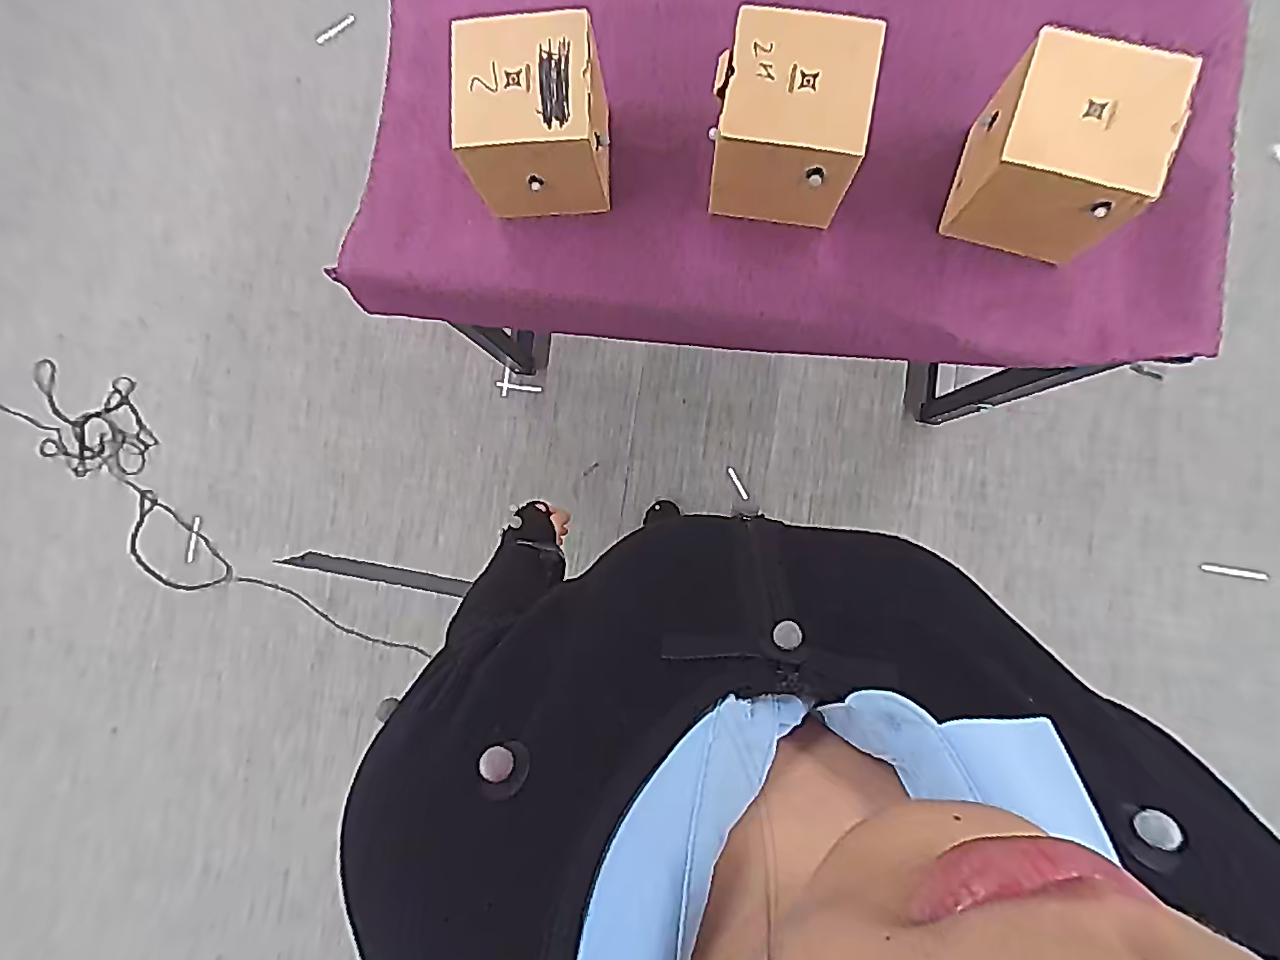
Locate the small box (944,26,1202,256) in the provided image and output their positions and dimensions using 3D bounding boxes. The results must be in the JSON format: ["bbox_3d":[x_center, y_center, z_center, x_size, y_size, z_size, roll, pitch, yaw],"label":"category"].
[{"bbox_3d":[0.523,-0.410,0.683,0.179,0.176,0.168,18,89,6],"label":"small box"}]

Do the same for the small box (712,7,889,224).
[{"bbox_3d":[0.198,-0.464,0.714,0.179,0.176,0.168,10,87,5],"label":"small box"}]
